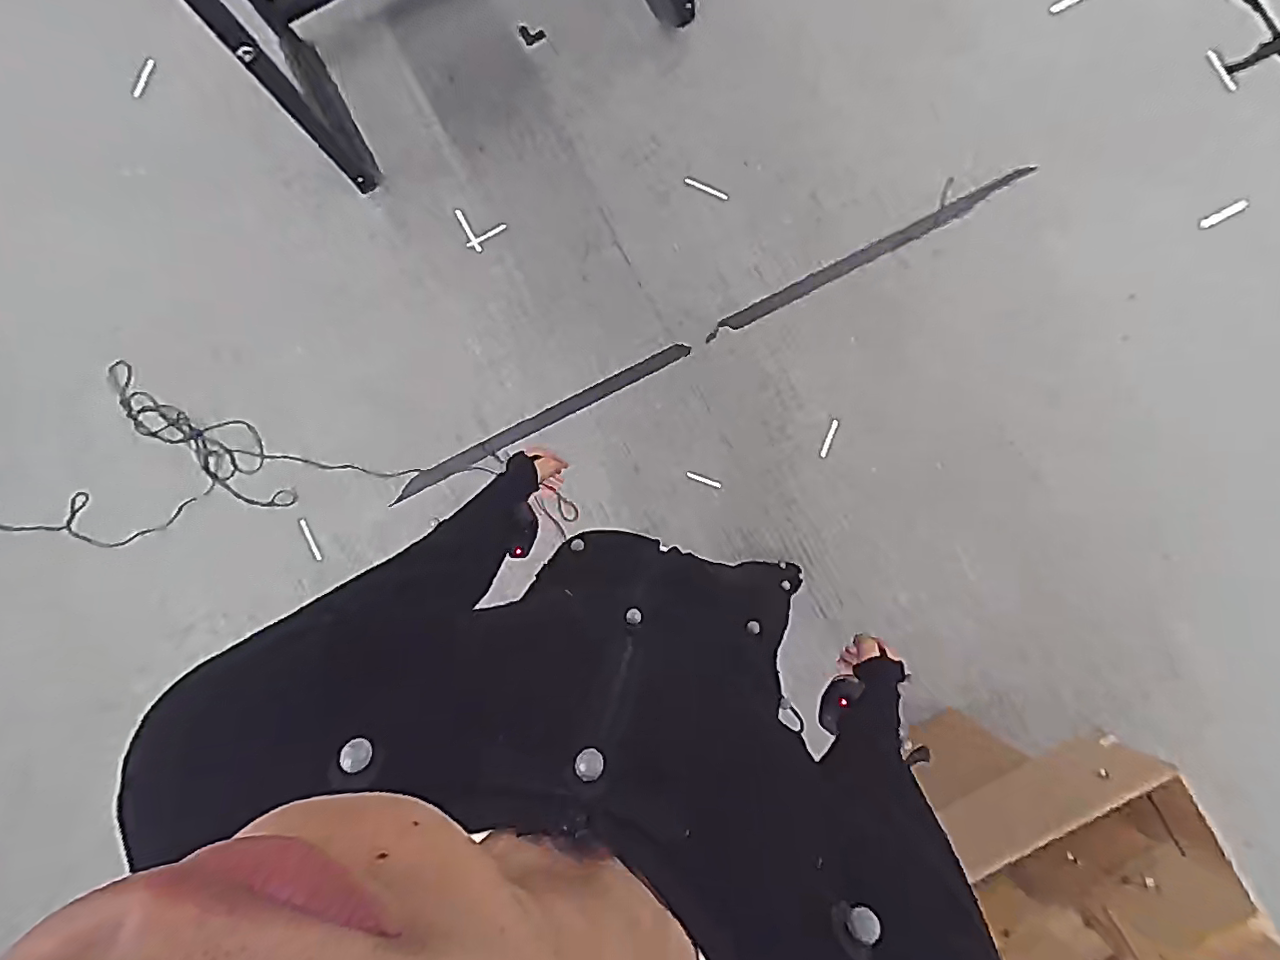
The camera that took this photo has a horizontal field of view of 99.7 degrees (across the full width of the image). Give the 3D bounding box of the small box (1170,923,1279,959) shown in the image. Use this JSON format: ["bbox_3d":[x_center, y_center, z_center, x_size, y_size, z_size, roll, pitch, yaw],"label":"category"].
[{"bbox_3d":[0.922,0.791,0.757,0.168,0.176,0.179,-29,88,2],"label":"small box"}]

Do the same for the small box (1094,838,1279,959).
[{"bbox_3d":[0.946,0.768,0.919,0.168,0.176,0.179,-32,87,2],"label":"small box"}]
